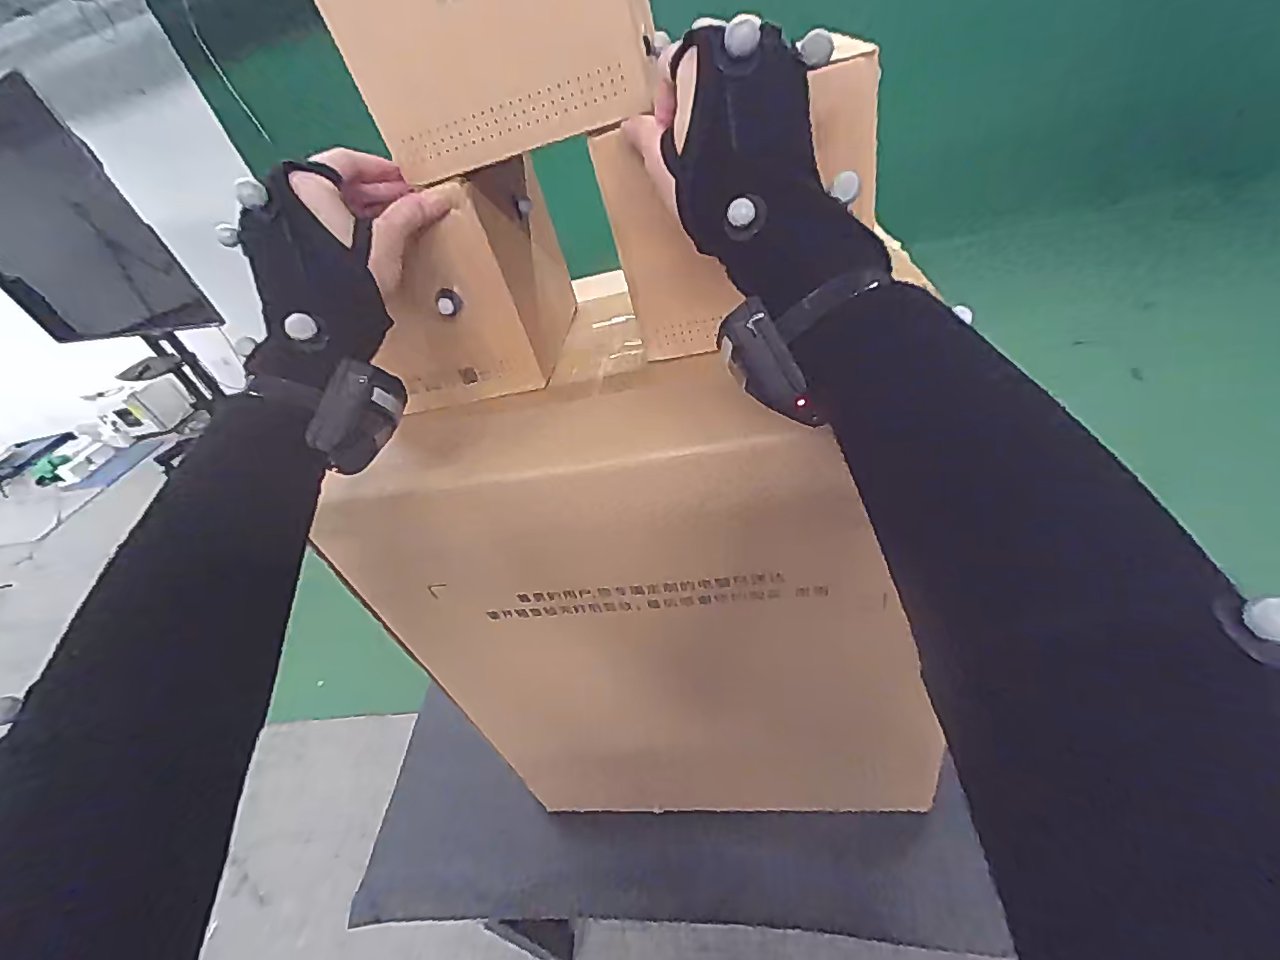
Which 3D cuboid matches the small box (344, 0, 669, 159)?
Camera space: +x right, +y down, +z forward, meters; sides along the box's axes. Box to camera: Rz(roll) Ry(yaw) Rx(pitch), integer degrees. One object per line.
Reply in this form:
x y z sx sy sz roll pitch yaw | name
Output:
-0.080 -0.333 0.351 0.179 0.176 0.168 -9 38 12 | small box

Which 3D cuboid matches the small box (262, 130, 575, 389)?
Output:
-0.165 -0.192 0.477 0.168 0.176 0.179 -7 38 10 | small box

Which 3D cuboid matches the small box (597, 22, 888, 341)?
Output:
0.084 -0.227 0.426 0.179 0.176 0.168 -8 40 13 | small box
